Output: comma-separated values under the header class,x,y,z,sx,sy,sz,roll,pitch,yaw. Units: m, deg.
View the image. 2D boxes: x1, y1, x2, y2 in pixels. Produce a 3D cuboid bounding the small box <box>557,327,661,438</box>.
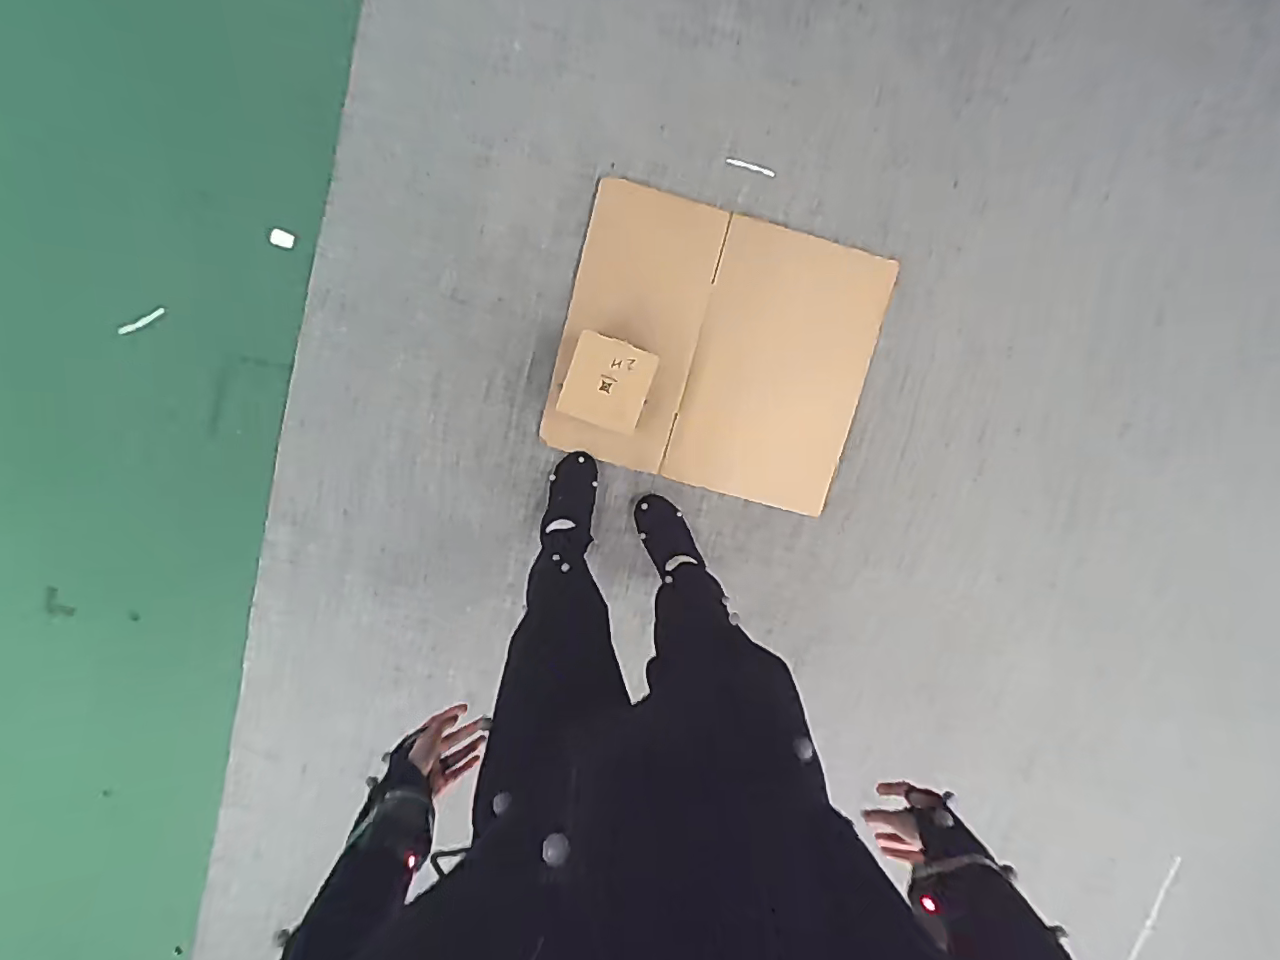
class,x,y,z,sx,sy,sz,roll,pitch,yaw
small box,-0.062,-0.204,1.154,0.168,0.176,0.179,21,98,-5
